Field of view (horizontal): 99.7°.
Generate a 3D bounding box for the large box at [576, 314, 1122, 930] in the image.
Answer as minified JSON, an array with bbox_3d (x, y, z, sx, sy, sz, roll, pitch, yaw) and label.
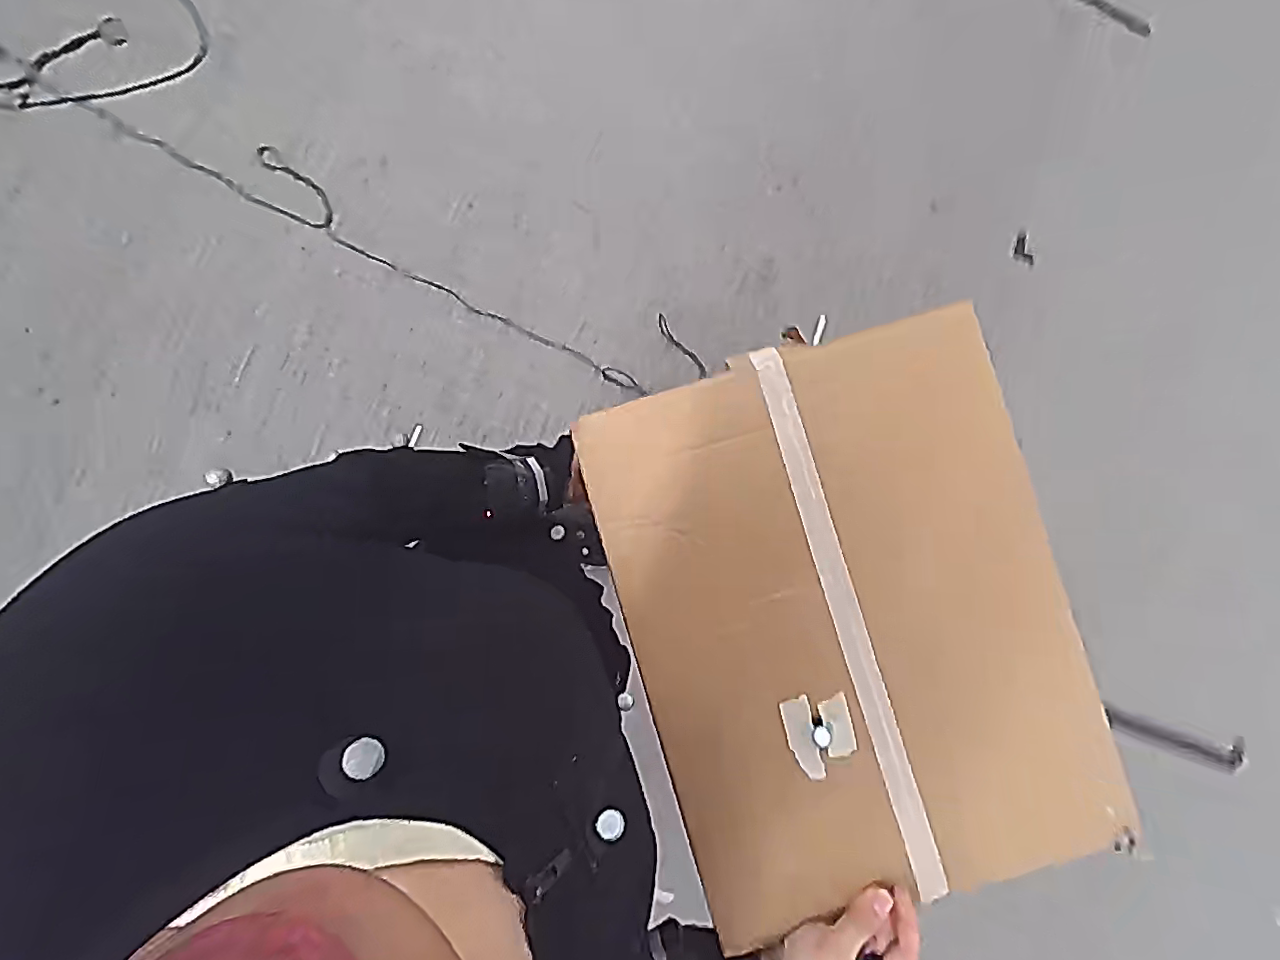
[{"bbox_3d":[0.155,0.107,0.554,0.320,0.320,0.408,-17,89,2],"label":"large box"}]
